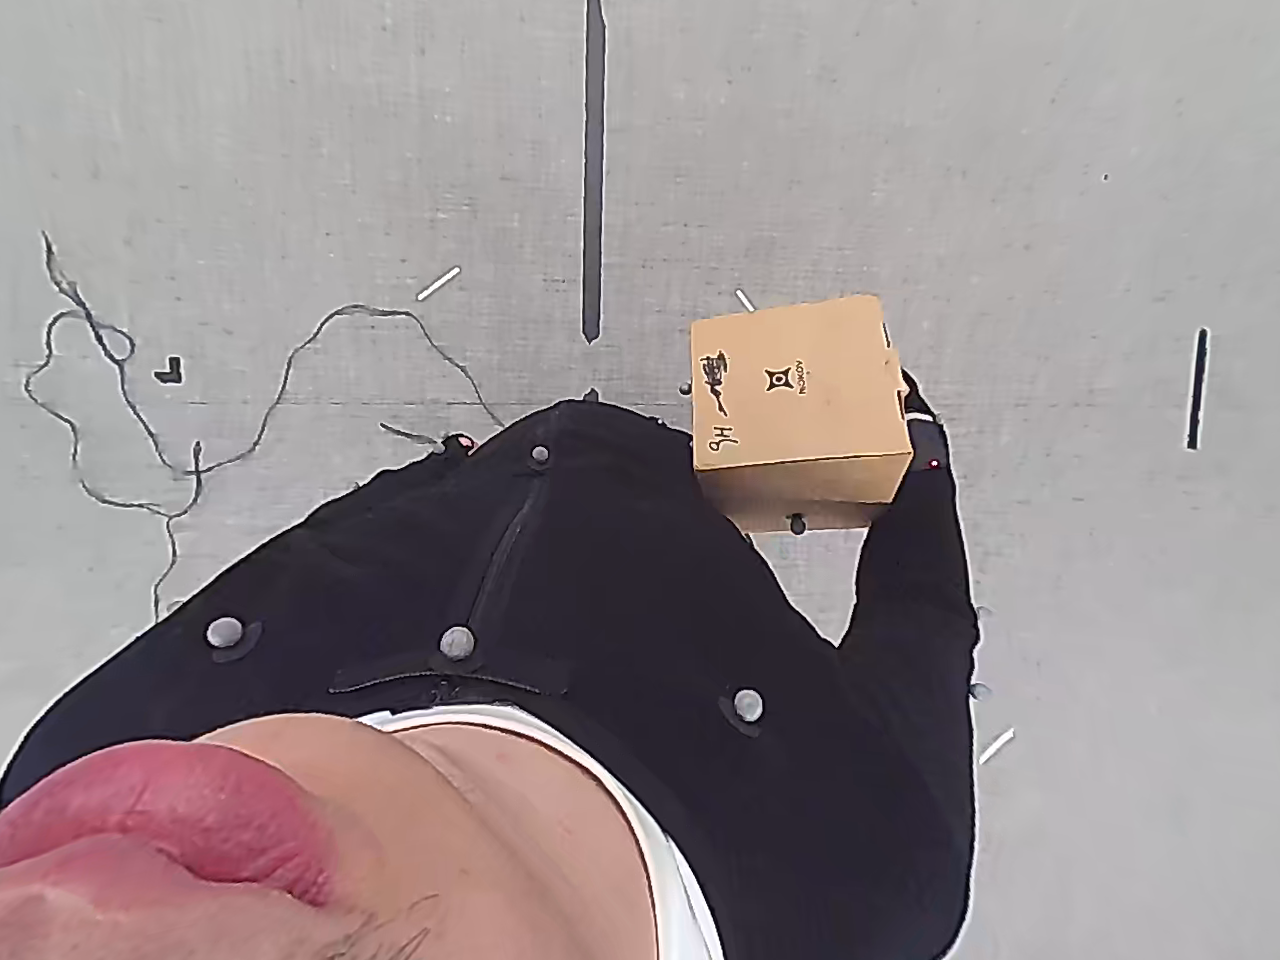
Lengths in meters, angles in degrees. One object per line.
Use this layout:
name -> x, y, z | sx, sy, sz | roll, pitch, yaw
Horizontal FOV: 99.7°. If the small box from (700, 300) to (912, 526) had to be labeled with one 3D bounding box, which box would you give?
small box -> 0.158, -0.058, 0.562 | 0.179, 0.176, 0.168 | -4, 63, 12
